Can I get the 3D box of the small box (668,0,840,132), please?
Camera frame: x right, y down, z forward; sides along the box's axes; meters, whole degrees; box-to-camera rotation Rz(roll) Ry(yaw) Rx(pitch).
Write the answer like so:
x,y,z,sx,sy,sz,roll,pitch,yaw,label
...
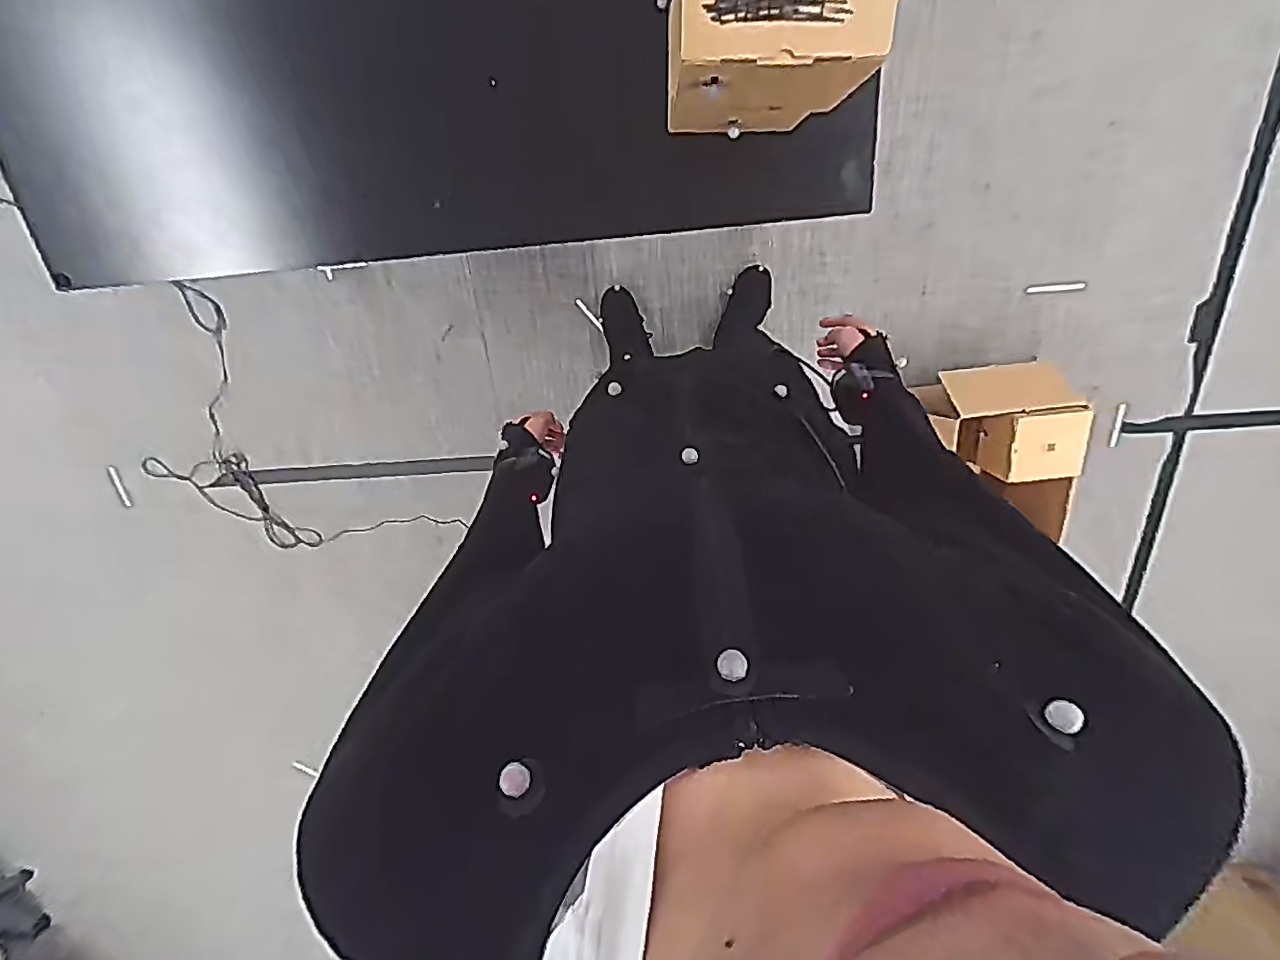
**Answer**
x,y,z,sx,sy,sz,roll,pitch,yaw,label
0.117,-0.512,0.606,0.168,0.176,0.179,1,113,2,small box
